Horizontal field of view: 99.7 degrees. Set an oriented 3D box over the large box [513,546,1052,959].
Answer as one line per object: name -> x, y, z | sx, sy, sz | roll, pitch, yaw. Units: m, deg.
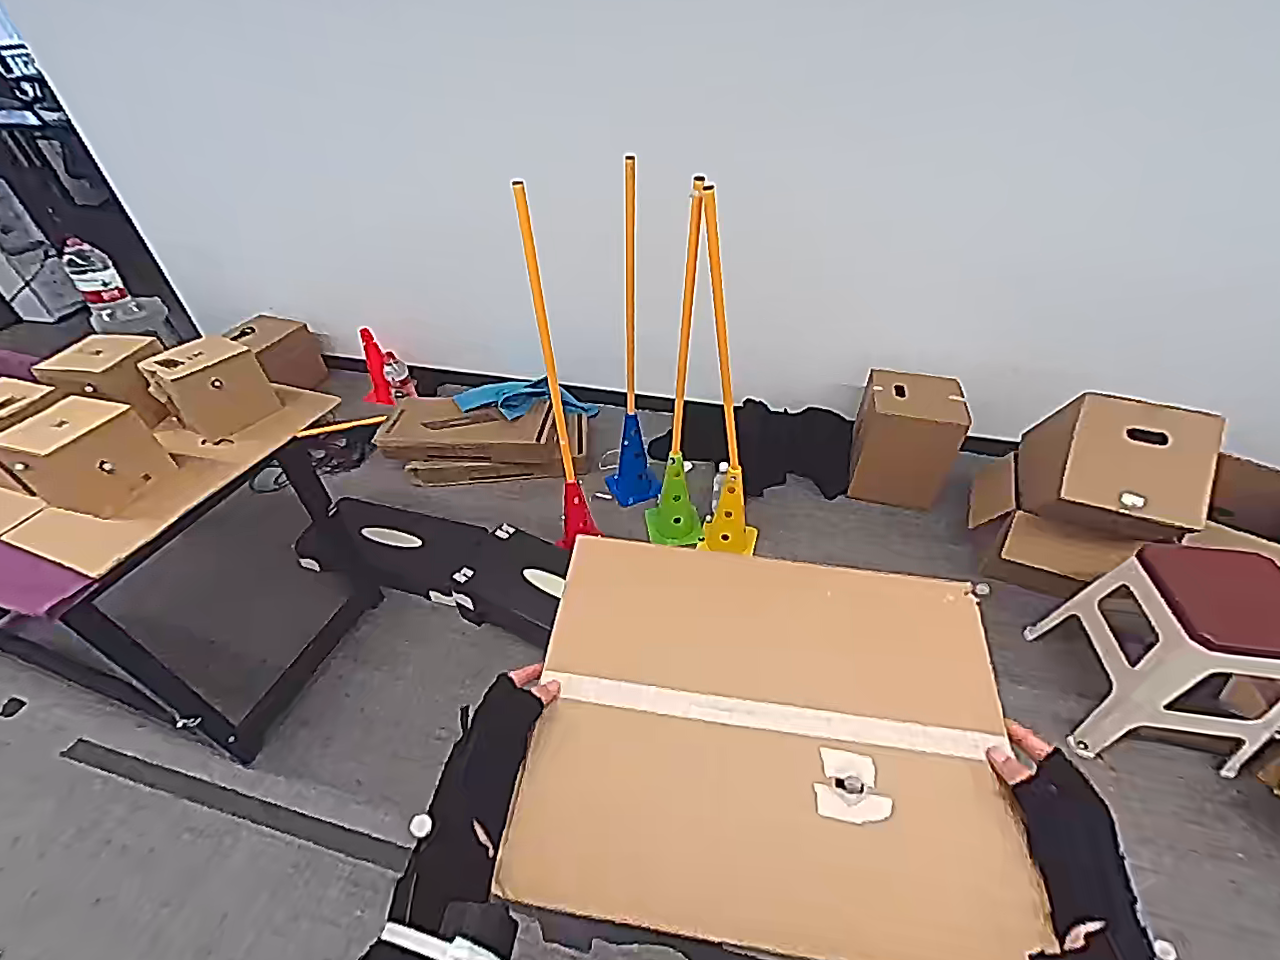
large box -> 0.115, 0.301, 0.602 | 0.408, 0.320, 0.320 | 7, 54, 5
